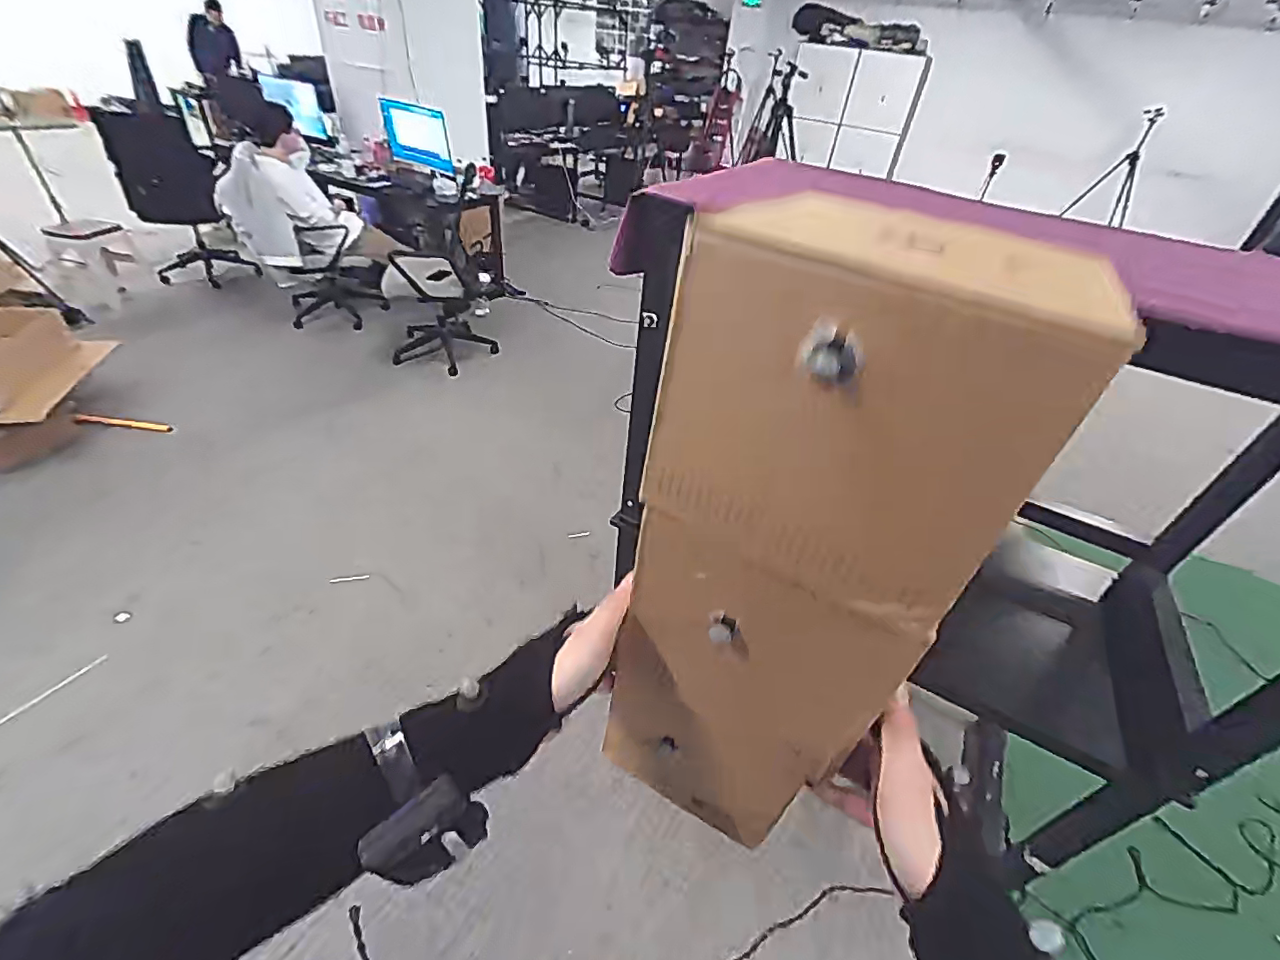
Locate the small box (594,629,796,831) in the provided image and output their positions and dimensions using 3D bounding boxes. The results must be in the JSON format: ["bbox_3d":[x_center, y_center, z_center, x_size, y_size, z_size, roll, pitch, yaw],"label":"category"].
[{"bbox_3d":[0.069,0.180,0.507,0.168,0.176,0.179,25,40,17],"label":"small box"}]

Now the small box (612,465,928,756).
[{"bbox_3d":[0.095,0.060,0.397,0.179,0.176,0.168,26,40,19],"label":"small box"}]

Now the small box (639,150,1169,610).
[{"bbox_3d":[0.118,-0.065,0.293,0.179,0.176,0.168,30,42,22],"label":"small box"}]
